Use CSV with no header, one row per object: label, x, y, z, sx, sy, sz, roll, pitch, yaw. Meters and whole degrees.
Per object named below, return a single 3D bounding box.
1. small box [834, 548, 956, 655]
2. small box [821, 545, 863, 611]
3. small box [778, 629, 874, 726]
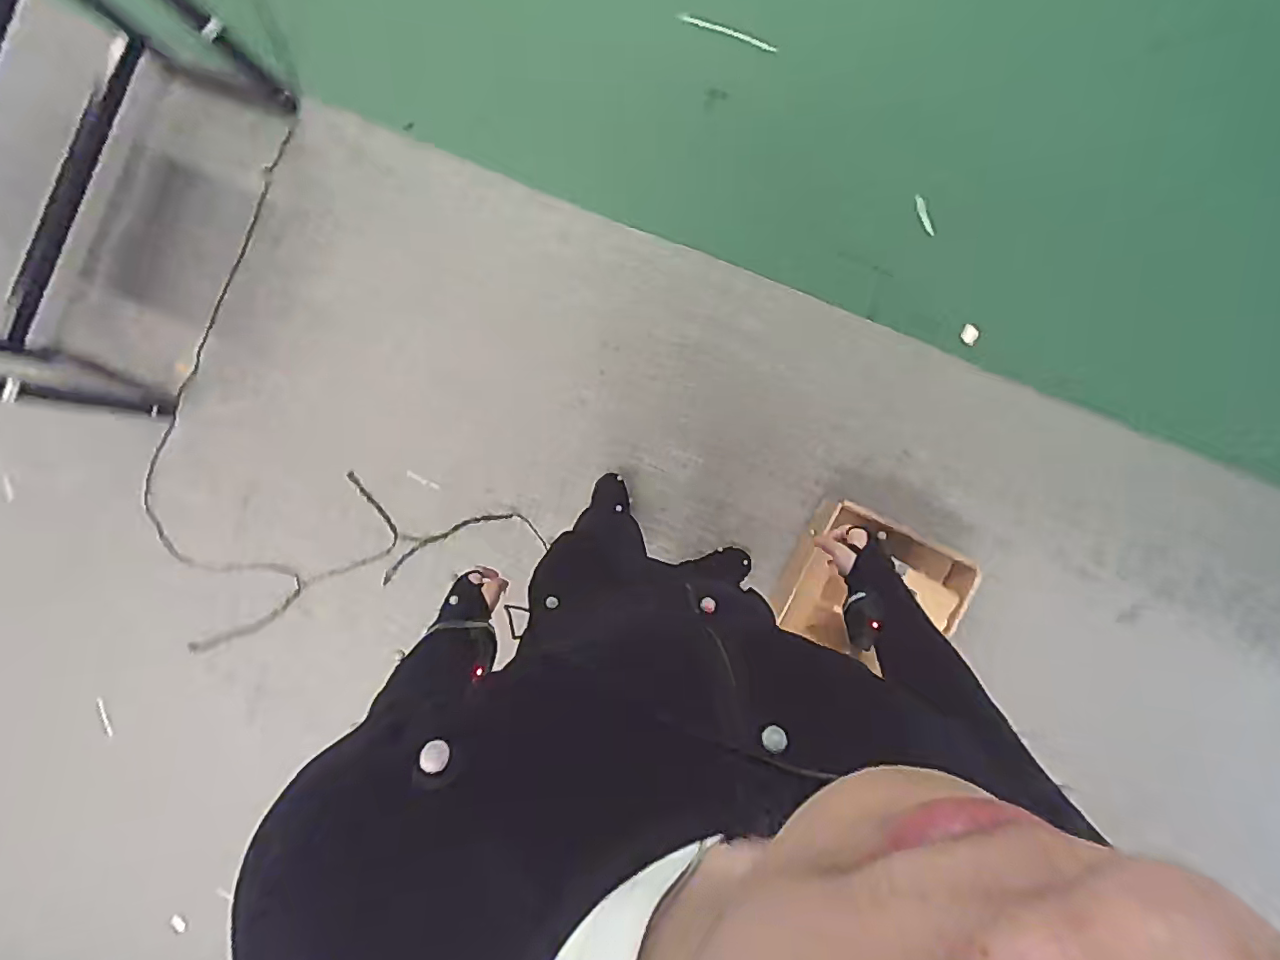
small box,0.594,0.276,1.283,0.179,0.176,0.168,32,93,6
small box,0.608,0.283,1.446,0.179,0.176,0.168,25,93,6
small box,0.491,0.519,1.456,0.179,0.176,0.168,26,91,7
